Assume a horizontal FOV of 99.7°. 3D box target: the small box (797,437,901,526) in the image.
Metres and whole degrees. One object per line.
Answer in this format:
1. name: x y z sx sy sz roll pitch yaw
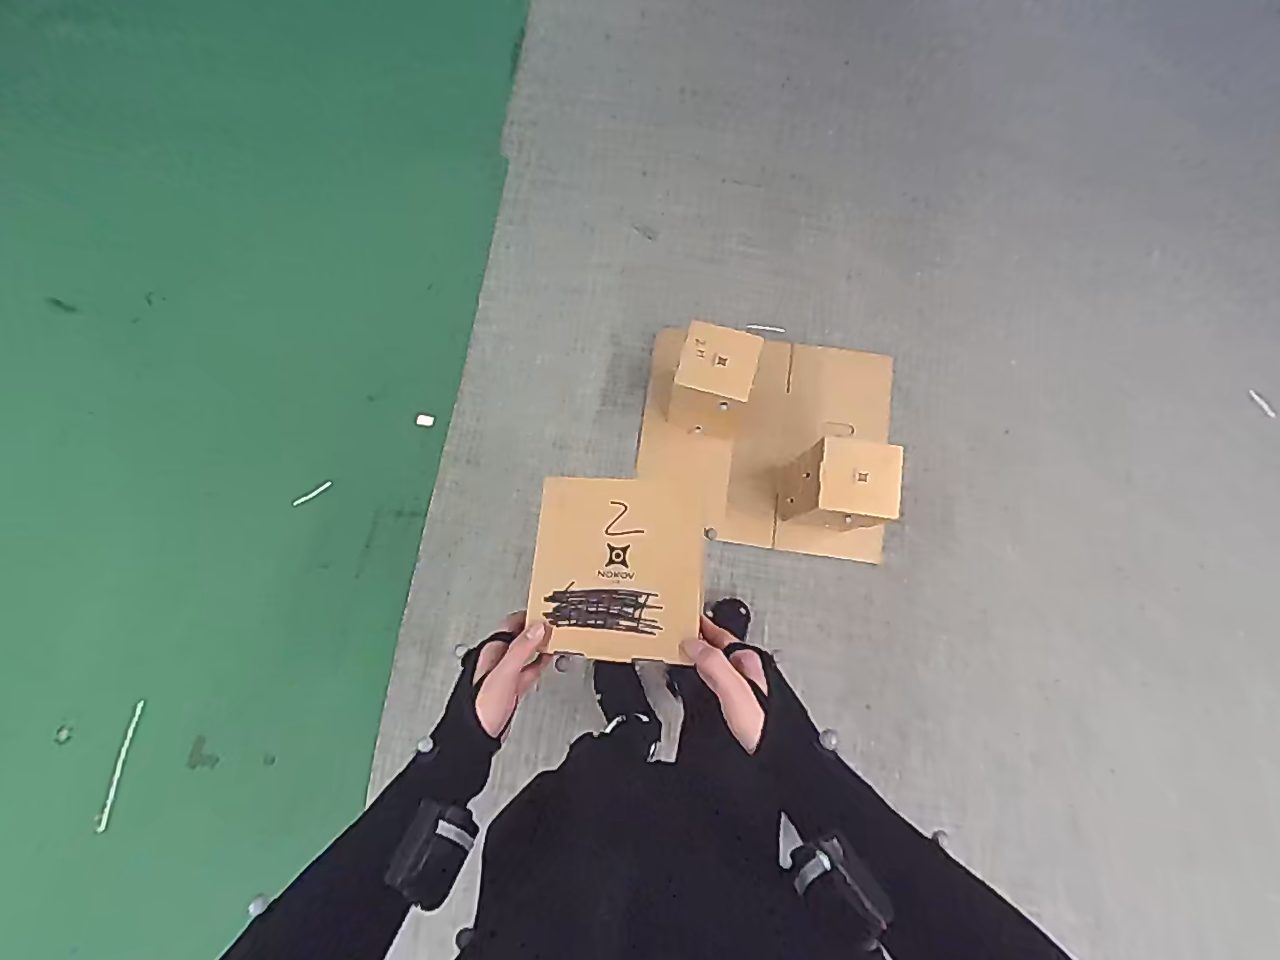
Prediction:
1. small box: 0.479 0.010 1.255 0.179 0.176 0.168 8 80 4

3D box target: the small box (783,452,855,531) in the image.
1. small box: 0.484 0.036 1.415 0.179 0.176 0.168 9 79 3

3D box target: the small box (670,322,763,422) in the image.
1. small box: 0.178 -0.252 1.308 0.179 0.176 0.168 16 79 4

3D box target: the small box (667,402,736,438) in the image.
1. small box: 0.179 -0.226 1.472 0.179 0.176 0.168 16 79 4
